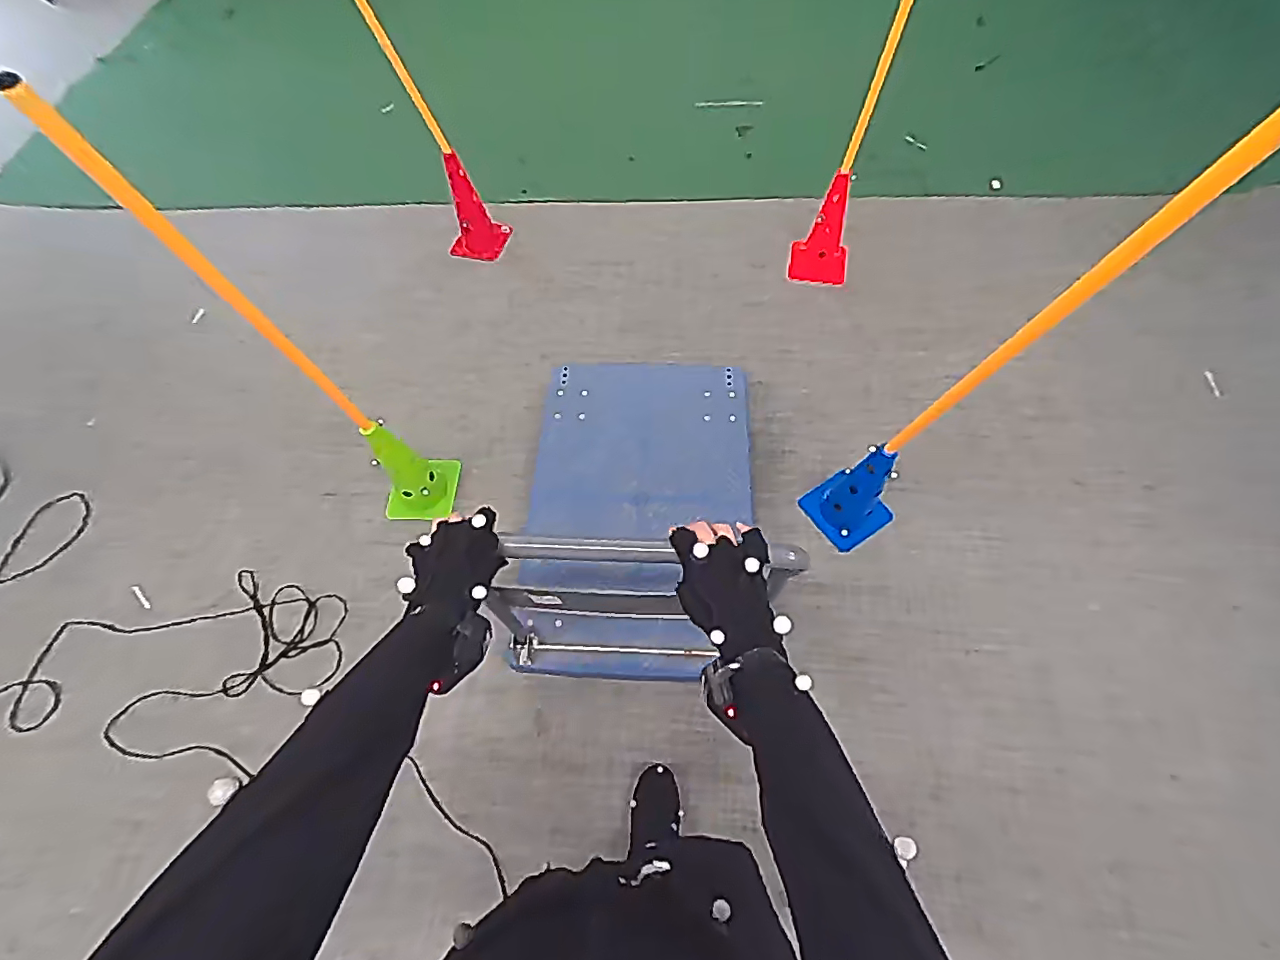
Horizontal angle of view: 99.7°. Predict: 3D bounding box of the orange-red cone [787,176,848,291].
[{"bbox_3d":[0.640,-0.853,1.836,0.198,0.360,0.199,11,65,10],"label":"orange-red cone"}]
